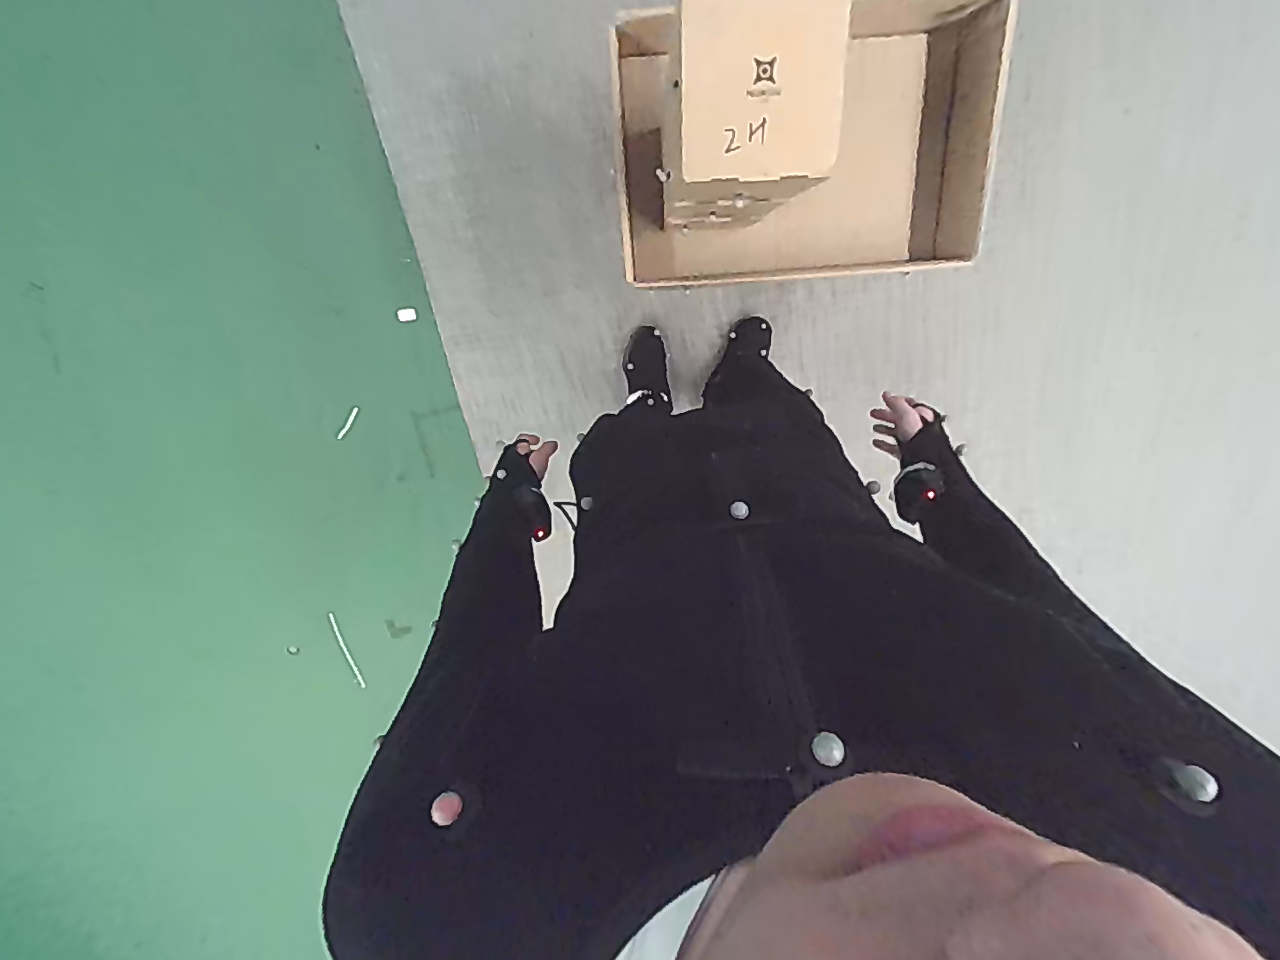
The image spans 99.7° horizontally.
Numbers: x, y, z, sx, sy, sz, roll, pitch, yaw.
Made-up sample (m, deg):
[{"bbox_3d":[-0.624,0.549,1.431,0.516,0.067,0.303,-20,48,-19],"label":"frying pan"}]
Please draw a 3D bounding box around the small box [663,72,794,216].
[{"bbox_3d":[0.121,-0.482,0.771,0.168,0.176,0.179,-3,112,-1],"label":"small box"}]

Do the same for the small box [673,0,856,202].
[{"bbox_3d":[0.125,-0.424,0.616,0.168,0.176,0.179,-1,112,-1],"label":"small box"}]
